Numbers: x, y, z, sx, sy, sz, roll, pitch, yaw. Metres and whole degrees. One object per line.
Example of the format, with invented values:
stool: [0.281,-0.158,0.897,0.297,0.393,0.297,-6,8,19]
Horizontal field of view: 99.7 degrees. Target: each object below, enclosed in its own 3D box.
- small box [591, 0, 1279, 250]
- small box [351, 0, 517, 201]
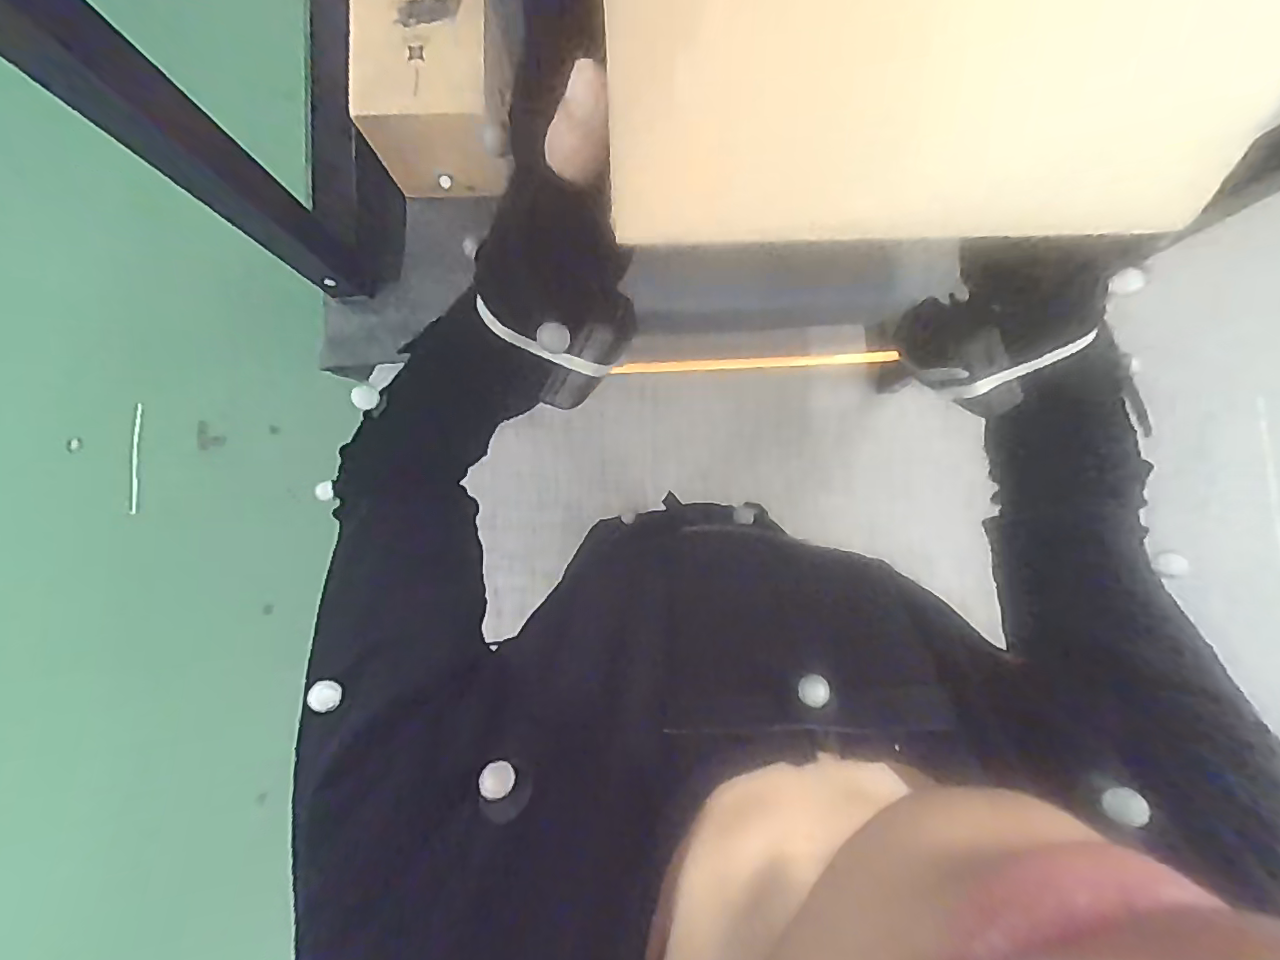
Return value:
small box: [0.070,-0.189,0.158,0.168,0.179,0.176,-2,46,0]
small box: [-0.267,-0.513,0.737,0.168,0.176,0.179,-1,86,0]
